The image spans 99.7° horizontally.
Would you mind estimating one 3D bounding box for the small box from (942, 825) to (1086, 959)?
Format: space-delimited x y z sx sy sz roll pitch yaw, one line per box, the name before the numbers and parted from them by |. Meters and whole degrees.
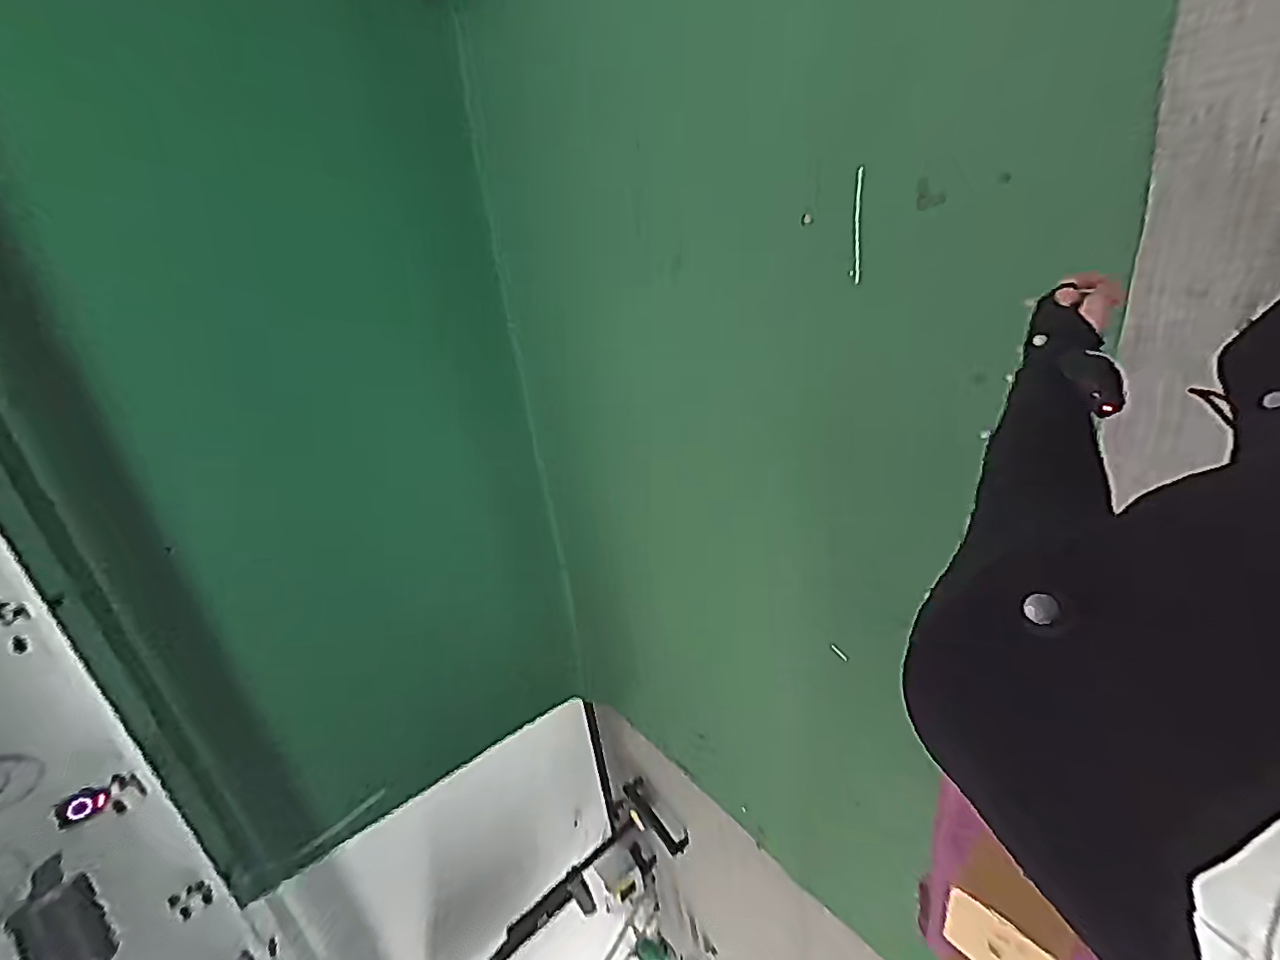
small box | 0.691 0.801 1.003 0.168 0.176 0.179 20 126 46
